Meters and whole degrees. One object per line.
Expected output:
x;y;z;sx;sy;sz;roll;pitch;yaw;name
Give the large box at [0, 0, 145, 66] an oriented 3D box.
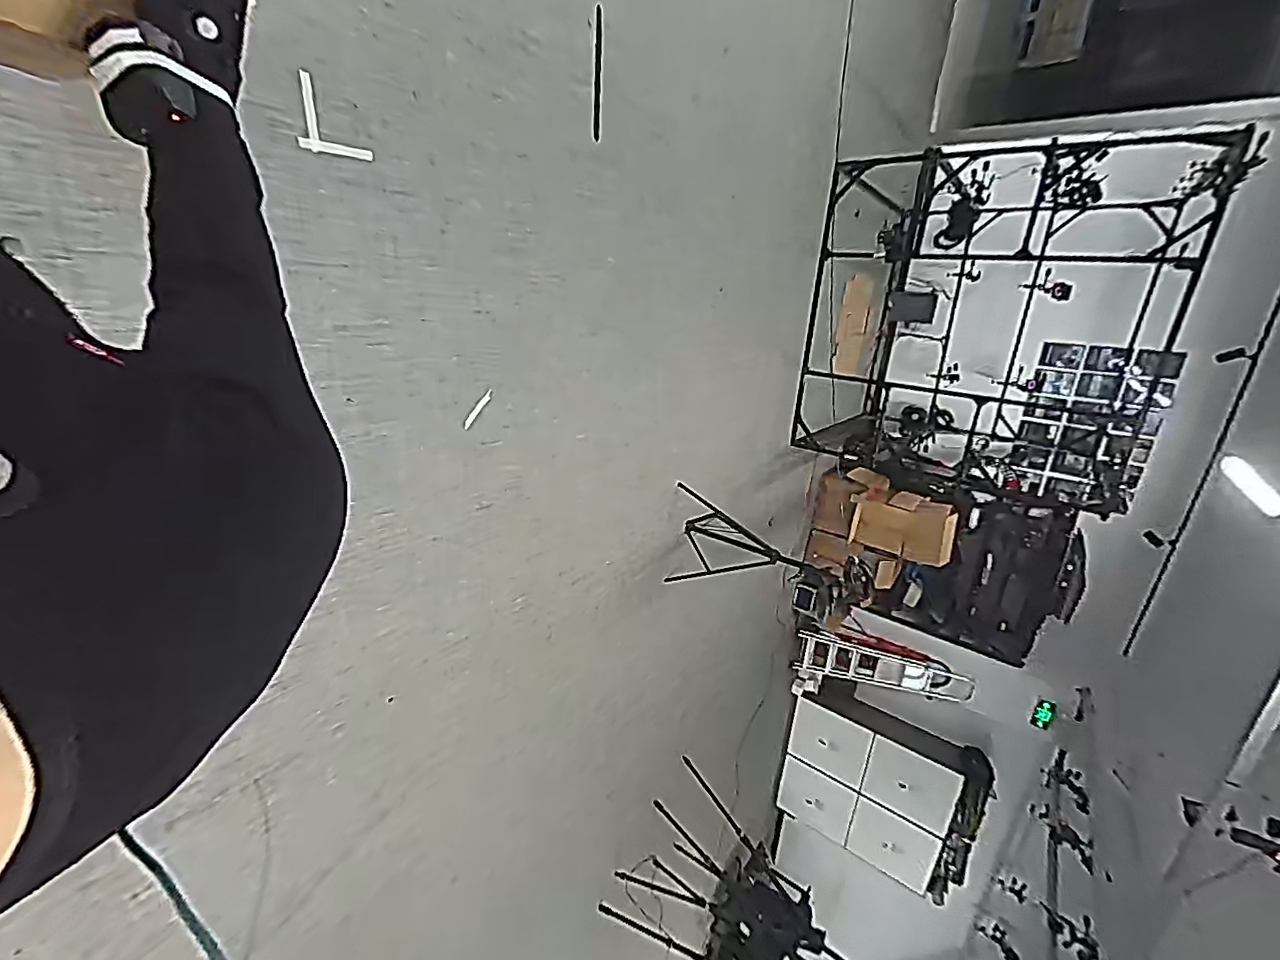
-0.592;-0.500;0.296;0.408;0.320;0.320;-12;122;-54;large box
